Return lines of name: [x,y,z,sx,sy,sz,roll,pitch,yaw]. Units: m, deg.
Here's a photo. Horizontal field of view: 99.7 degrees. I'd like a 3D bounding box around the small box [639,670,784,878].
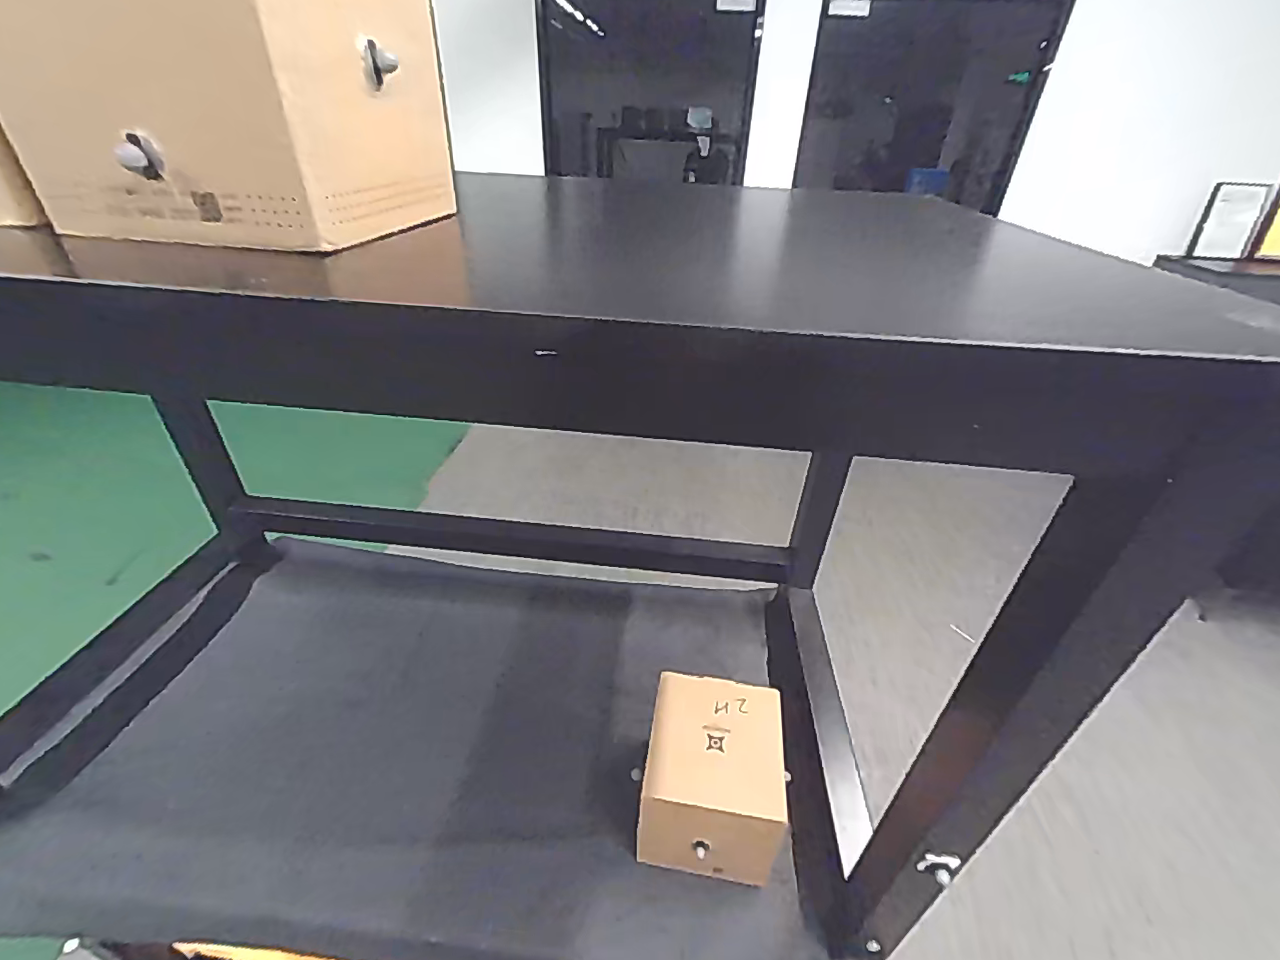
small box: [0.093,0.390,0.721,0.168,0.176,0.179,7,33,7]
